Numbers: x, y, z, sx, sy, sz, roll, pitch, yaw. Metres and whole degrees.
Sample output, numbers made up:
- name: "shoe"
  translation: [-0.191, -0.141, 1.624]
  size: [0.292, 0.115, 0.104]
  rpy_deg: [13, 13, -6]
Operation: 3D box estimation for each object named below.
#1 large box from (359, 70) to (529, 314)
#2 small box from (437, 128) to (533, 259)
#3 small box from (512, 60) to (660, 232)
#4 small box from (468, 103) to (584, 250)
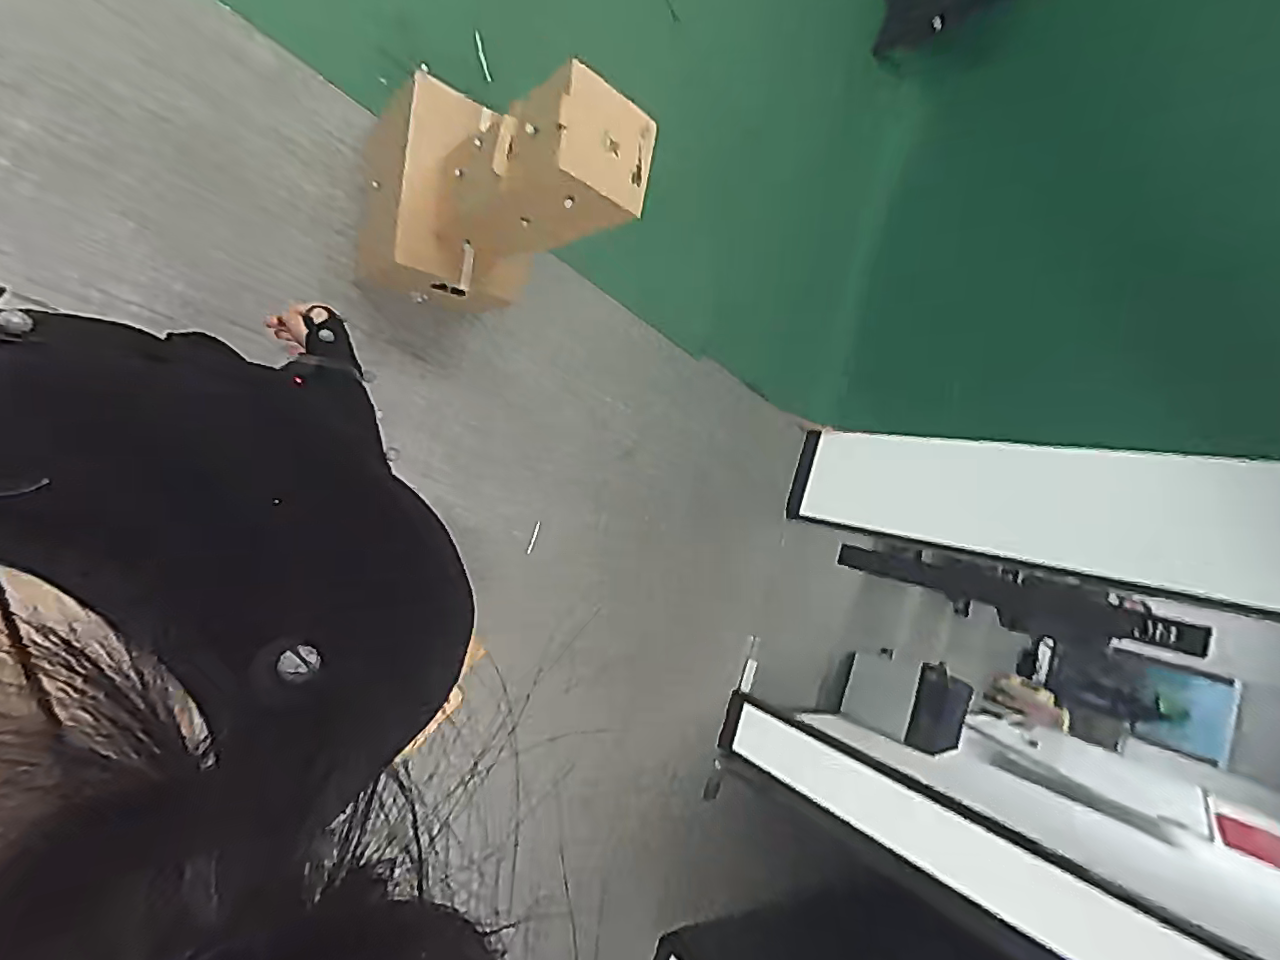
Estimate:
- name: "large box"
  translation: [-0.476, -0.660, 1.336]
  size: [0.320, 0.320, 0.408]
  rpy_deg: [6, 93, -44]
- name: "small box"
  translation: [-0.317, -0.599, 1.158]
  size: [0.168, 0.176, 0.179]
  rpy_deg: [10, 91, -41]
- name: "small box"
  translation: [-0.097, -0.547, 0.921]
  size: [0.179, 0.176, 0.168]
  rpy_deg: [11, 91, -41]
- name: "small box"
  translation: [-0.208, -0.566, 1.041]
  size: [0.179, 0.176, 0.168]
  rpy_deg: [13, 89, -42]
